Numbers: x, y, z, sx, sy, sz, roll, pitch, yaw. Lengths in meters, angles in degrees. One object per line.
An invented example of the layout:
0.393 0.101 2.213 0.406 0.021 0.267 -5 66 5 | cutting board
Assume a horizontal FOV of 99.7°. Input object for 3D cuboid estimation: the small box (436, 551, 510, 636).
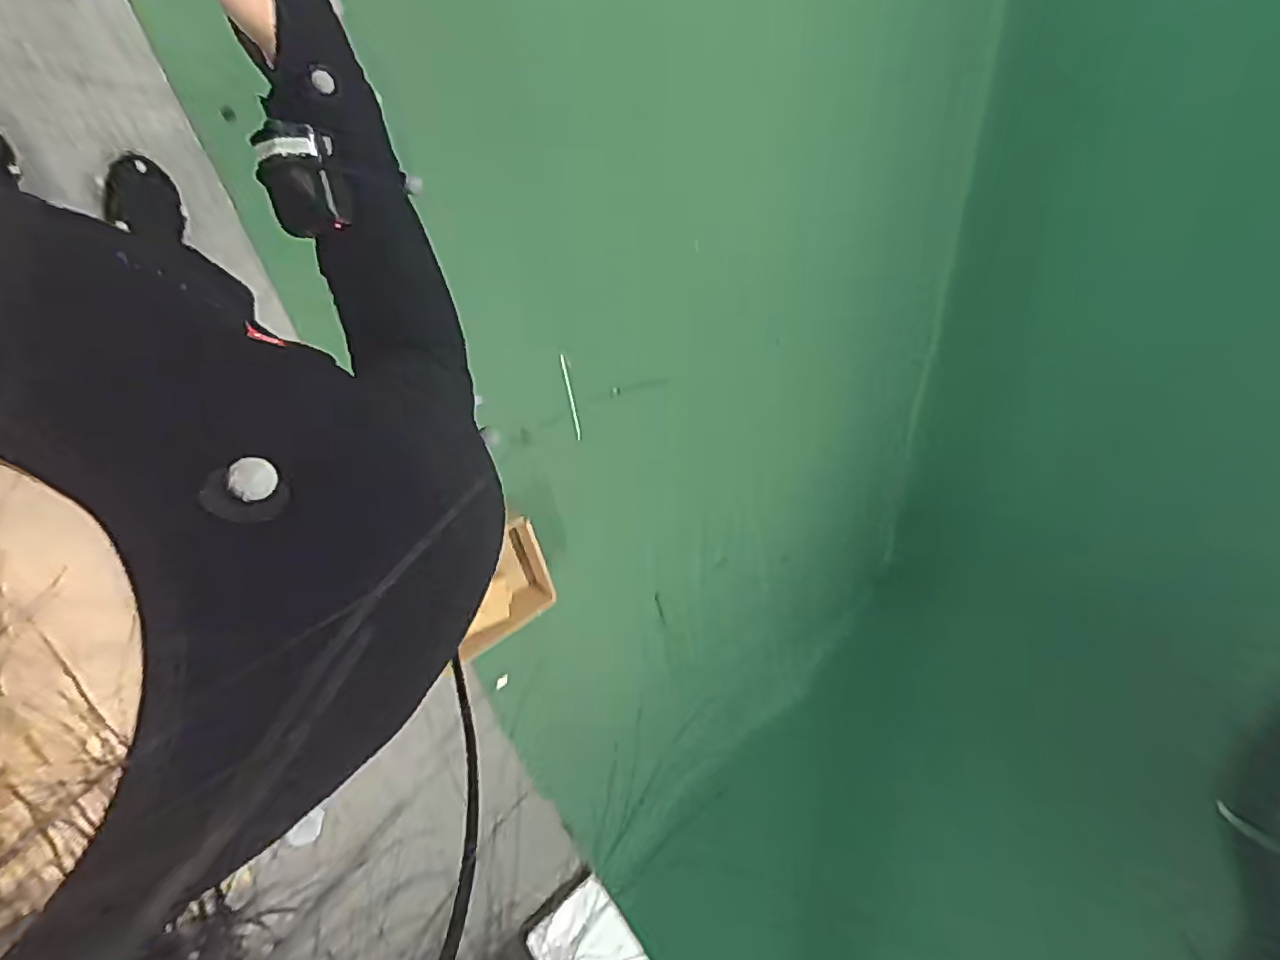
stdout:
-0.533 0.352 1.713 0.179 0.176 0.168 -19 126 -32 | small box
